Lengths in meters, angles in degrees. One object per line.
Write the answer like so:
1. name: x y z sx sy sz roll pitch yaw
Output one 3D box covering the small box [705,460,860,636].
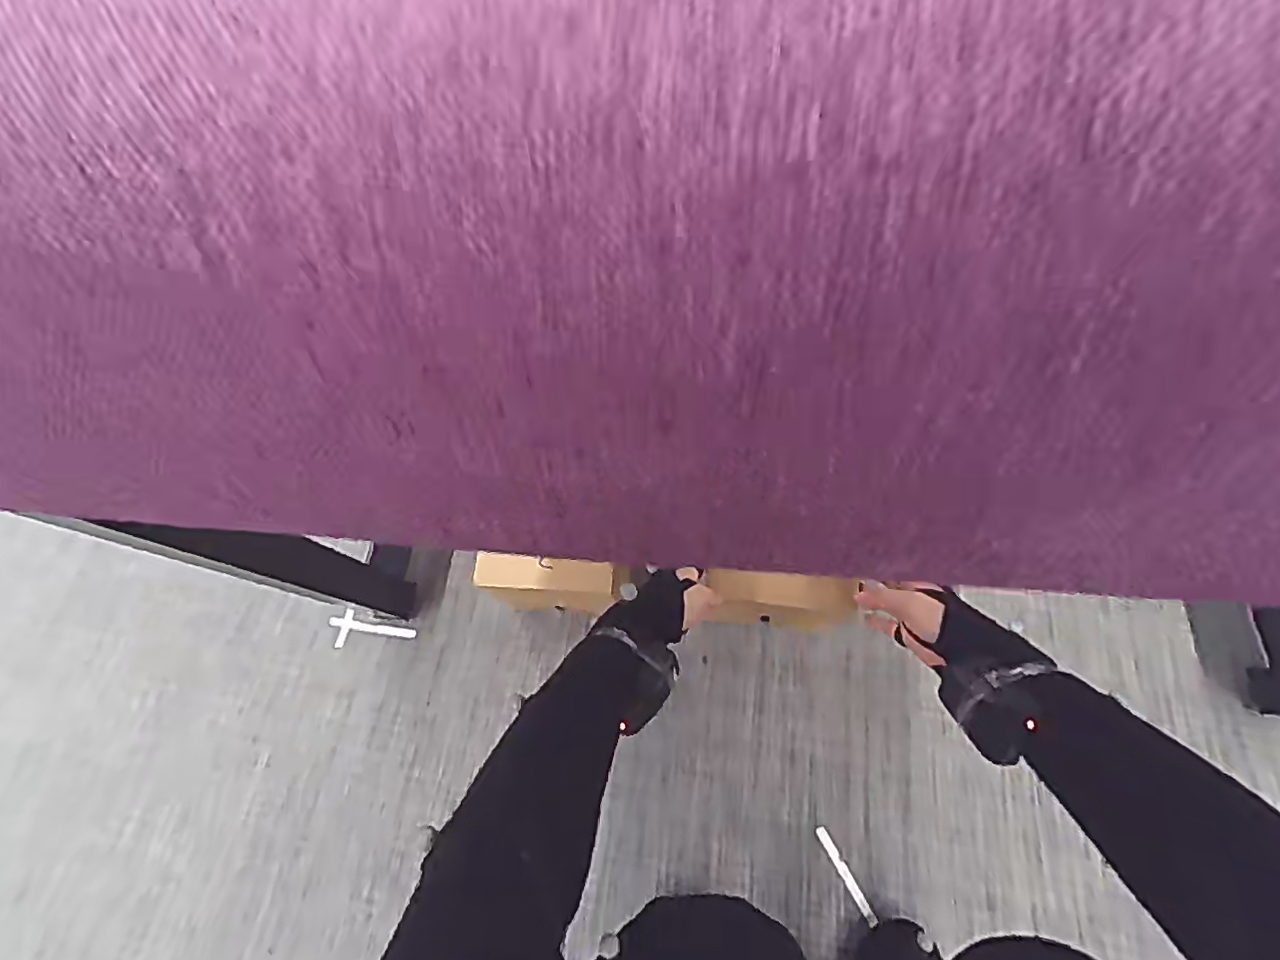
1. small box: 0.175 0.095 0.697 0.168 0.176 0.179 7 67 7
